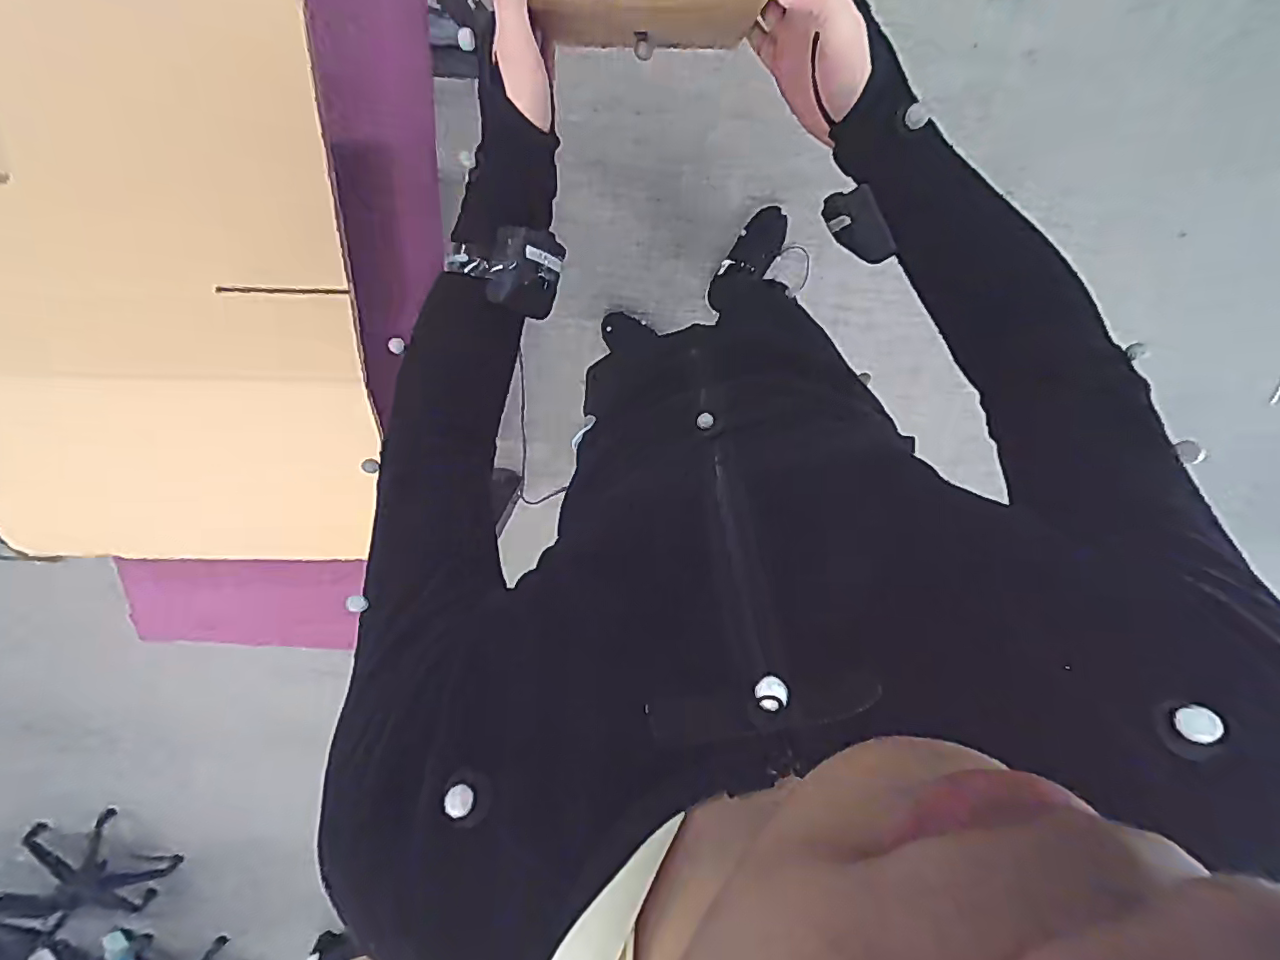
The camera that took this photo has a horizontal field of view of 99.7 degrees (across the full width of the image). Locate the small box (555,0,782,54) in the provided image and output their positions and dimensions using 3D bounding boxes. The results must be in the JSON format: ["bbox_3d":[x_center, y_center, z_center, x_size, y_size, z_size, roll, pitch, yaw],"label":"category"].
[{"bbox_3d":[0.016,-0.424,0.373,0.168,0.176,0.179,2,120,1],"label":"small box"}]
